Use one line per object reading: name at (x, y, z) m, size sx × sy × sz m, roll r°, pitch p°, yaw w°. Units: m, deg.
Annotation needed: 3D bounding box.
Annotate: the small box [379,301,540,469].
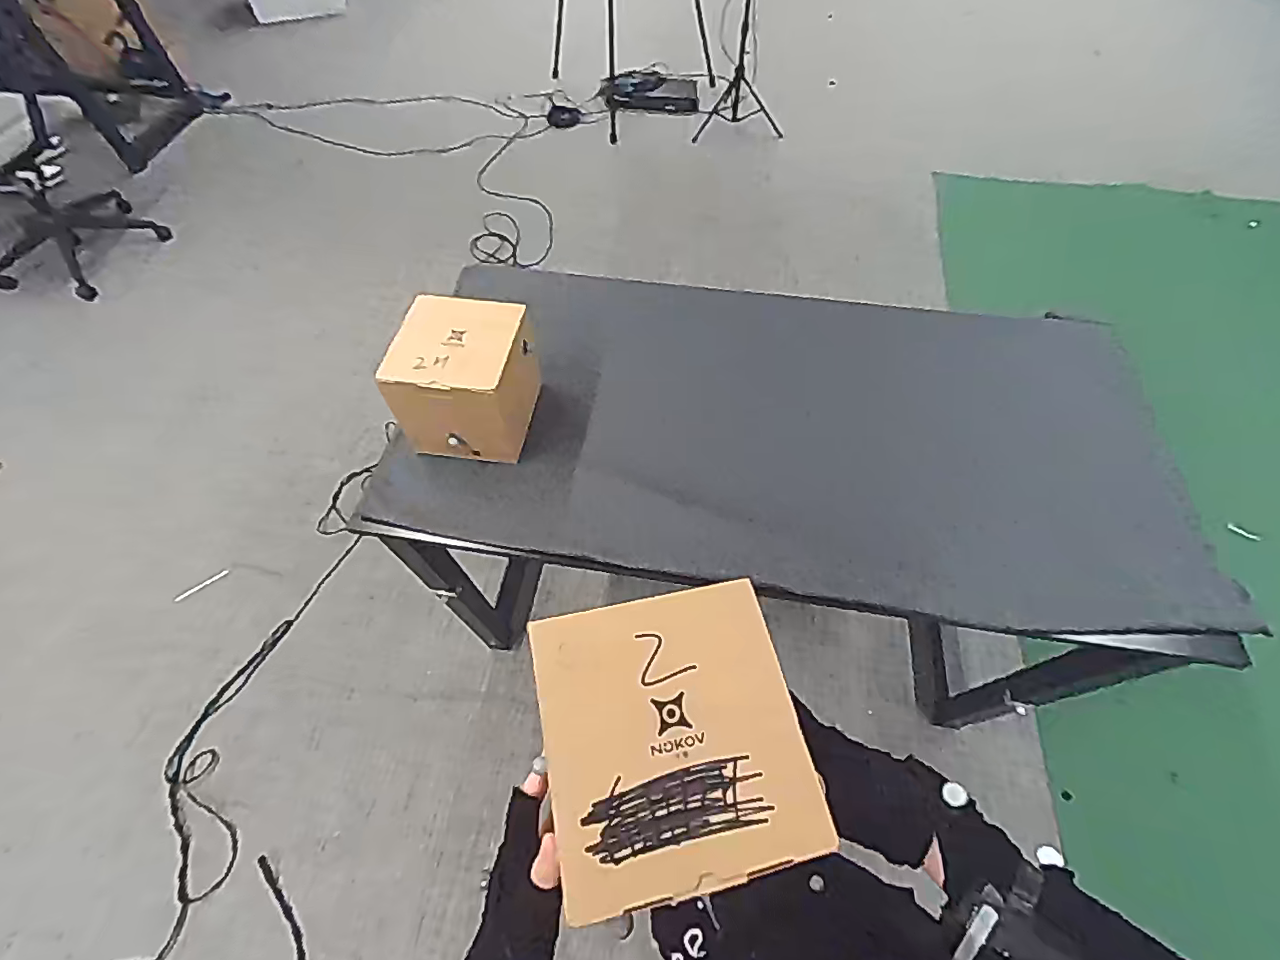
small box at (-0.255, -0.141, 0.818) m, size 0.168 × 0.176 × 0.179 m, roll 7°, pitch 57°, yaw 4°
